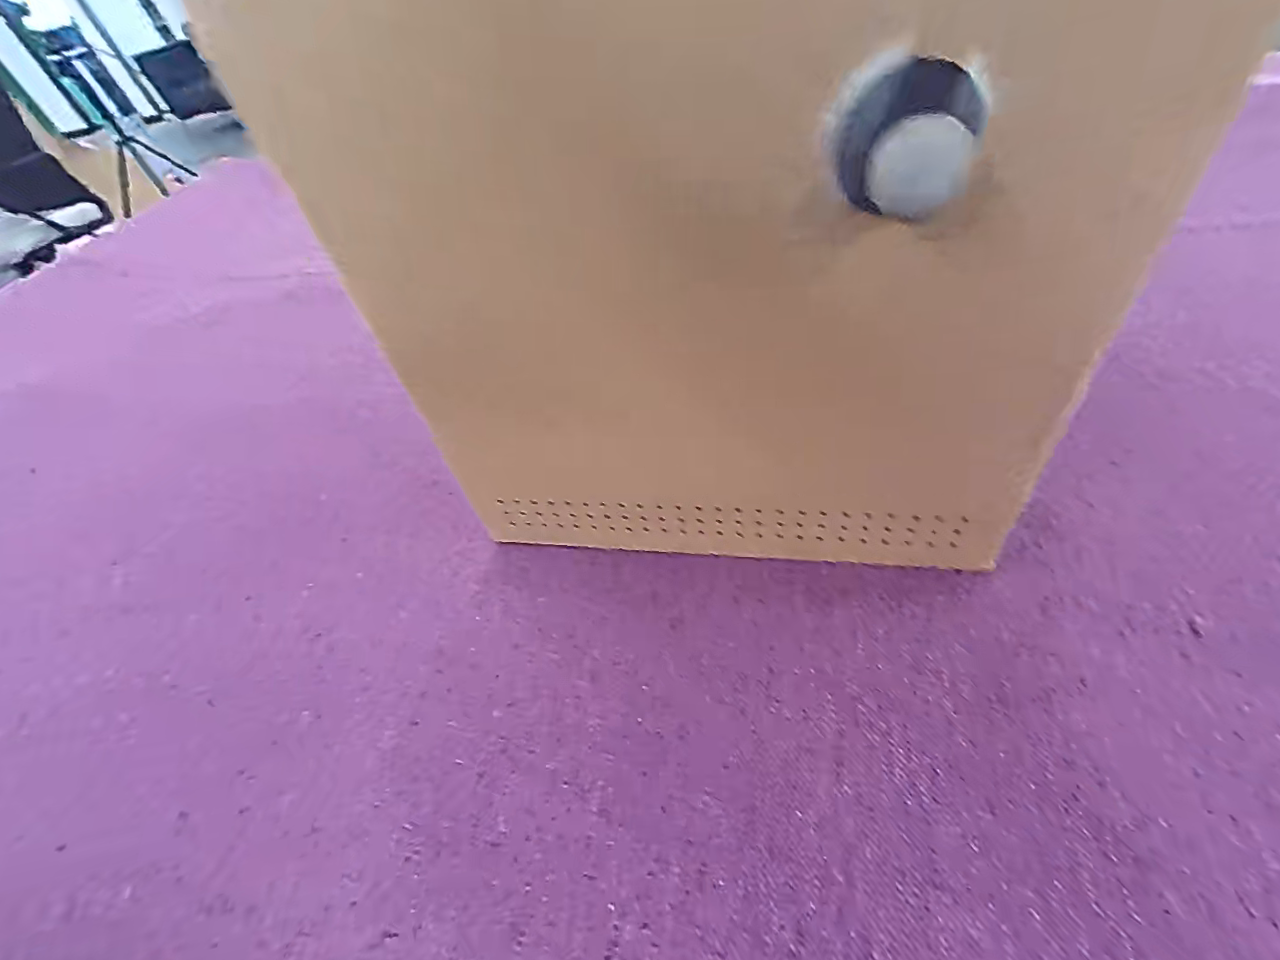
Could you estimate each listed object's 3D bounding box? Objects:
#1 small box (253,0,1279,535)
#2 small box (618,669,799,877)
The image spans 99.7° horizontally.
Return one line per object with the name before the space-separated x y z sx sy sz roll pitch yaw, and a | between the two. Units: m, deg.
small box | 0.035 -0.096 0.188 0.179 0.176 0.168 2 46 14
small box | 0.090 0.342 0.630 0.179 0.176 0.168 3 50 15
